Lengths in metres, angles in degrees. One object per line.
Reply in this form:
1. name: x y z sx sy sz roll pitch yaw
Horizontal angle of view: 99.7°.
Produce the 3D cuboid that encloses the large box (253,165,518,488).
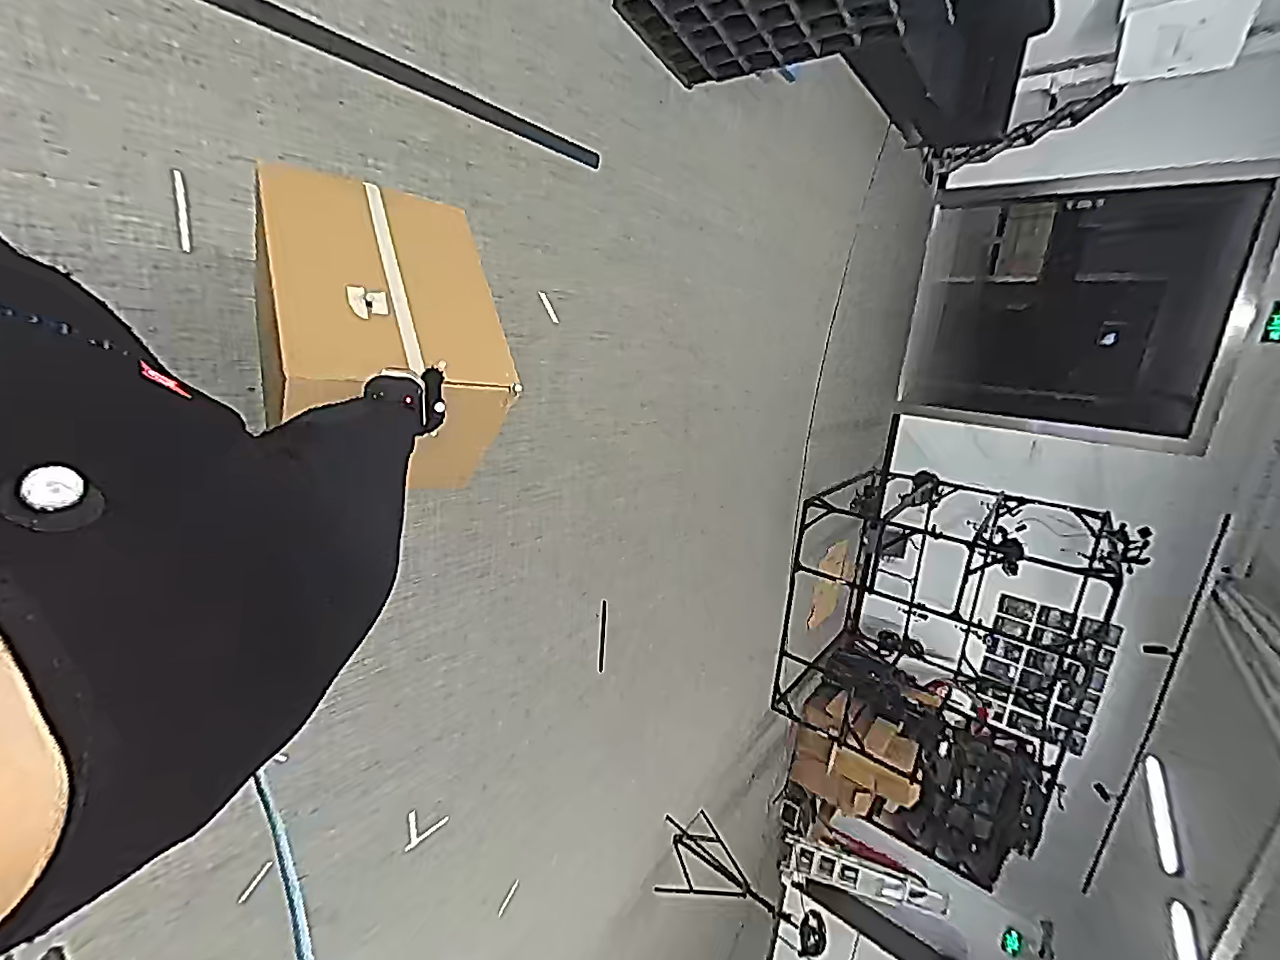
1. large box: -0.459 -0.236 0.937 0.320 0.320 0.408 -4 64 -38
